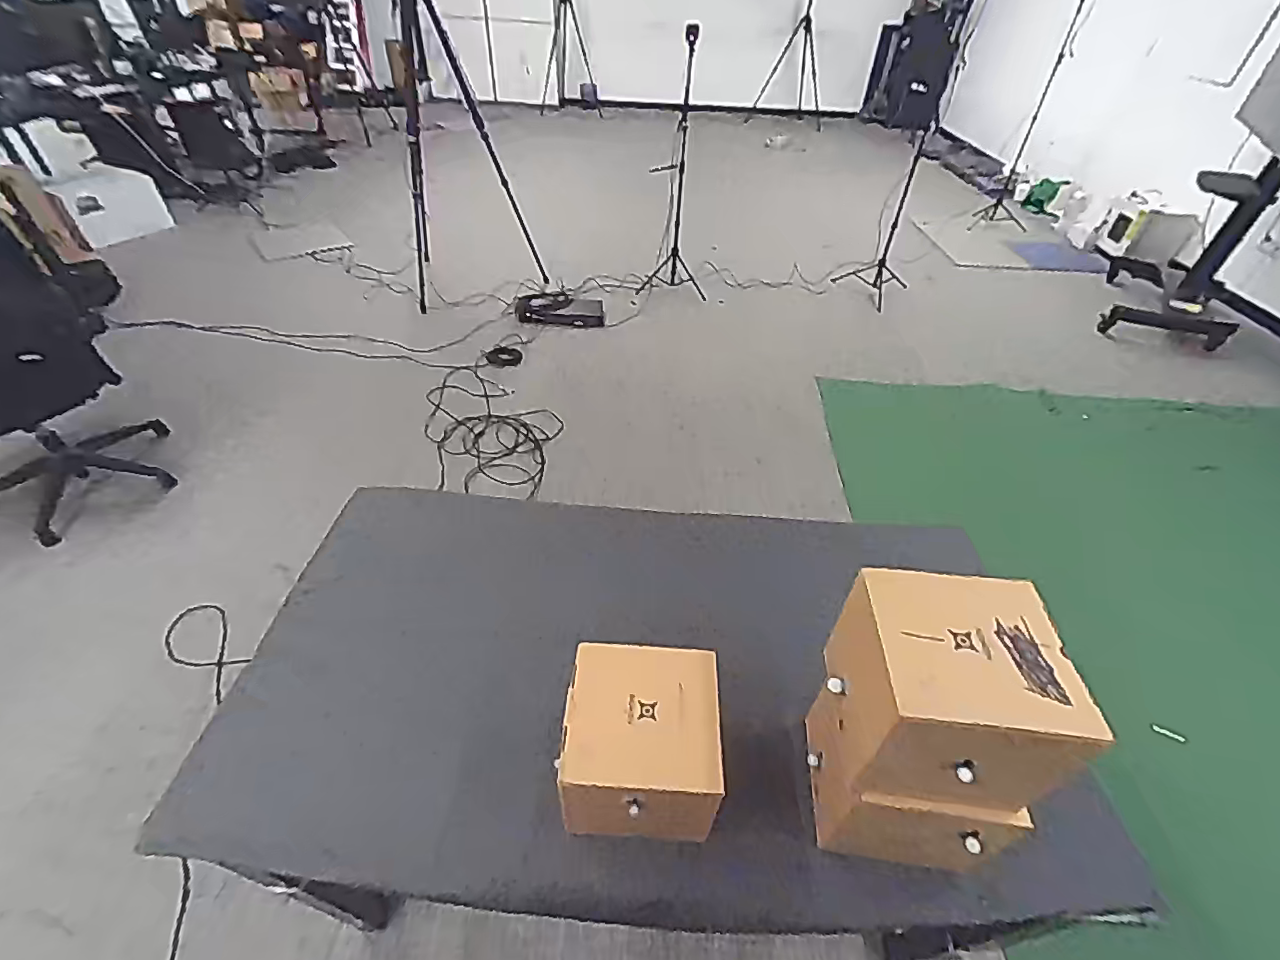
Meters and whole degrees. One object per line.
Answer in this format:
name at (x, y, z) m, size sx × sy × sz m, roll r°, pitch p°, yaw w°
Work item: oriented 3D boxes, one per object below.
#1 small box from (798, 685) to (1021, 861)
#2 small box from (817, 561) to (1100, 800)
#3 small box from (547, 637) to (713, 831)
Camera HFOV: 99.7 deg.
small box at (0.304, 0.339, 0.658) m, size 0.179 × 0.176 × 0.168 m, roll 7°, pitch 41°, yaw 4°
small box at (0.299, 0.208, 0.558) m, size 0.179 × 0.176 × 0.168 m, roll 5°, pitch 42°, yaw 4°
small box at (-0.010, 0.315, 0.668) m, size 0.179 × 0.176 × 0.168 m, roll 4°, pitch 43°, yaw -1°
